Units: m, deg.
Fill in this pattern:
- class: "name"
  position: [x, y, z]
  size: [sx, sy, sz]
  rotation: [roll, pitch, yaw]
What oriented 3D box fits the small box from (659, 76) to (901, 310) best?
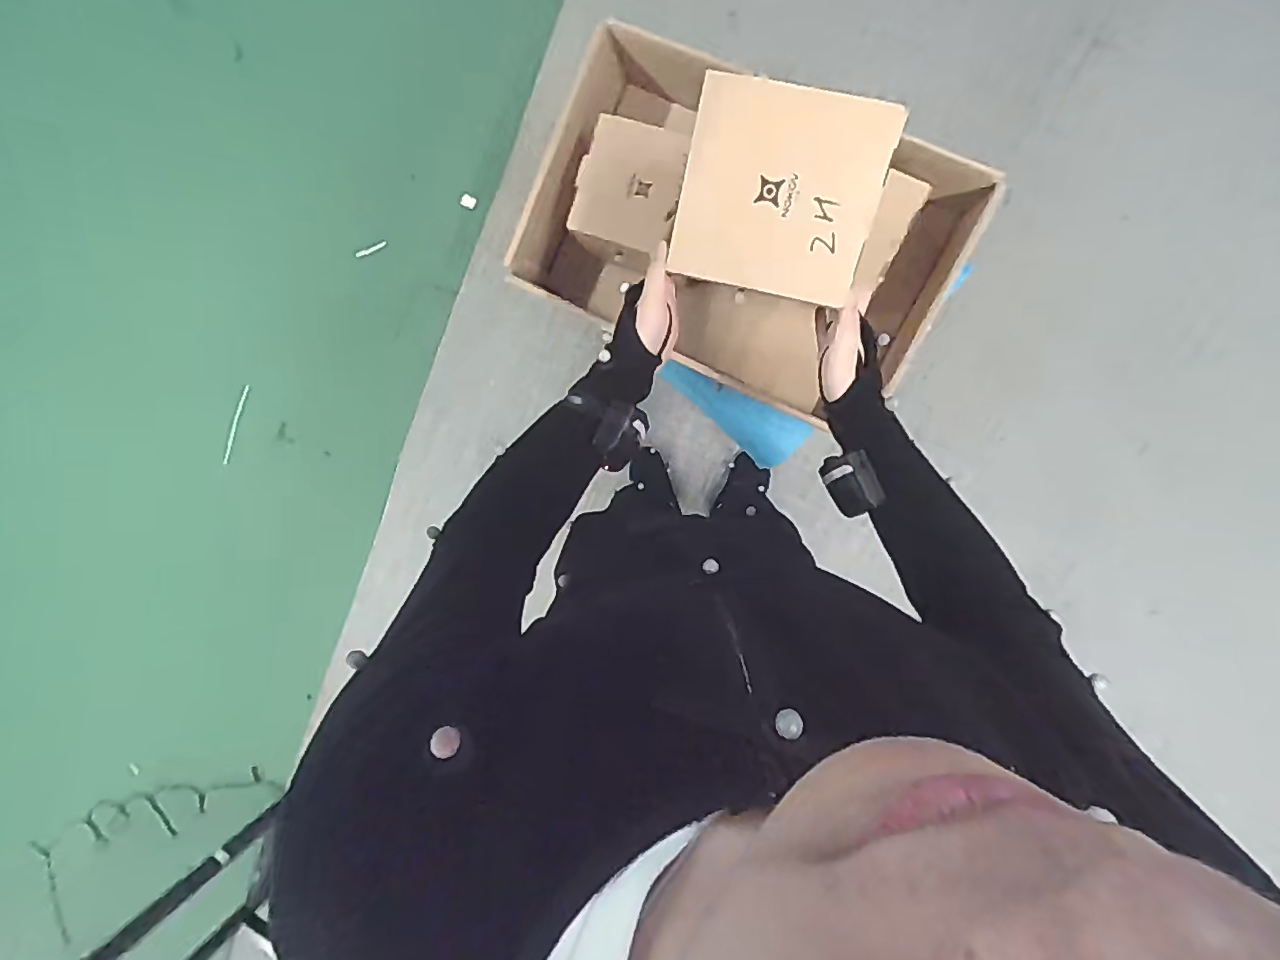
- class: "small box"
  position: [0.130, -0.278, 0.556]
  size: [0.179, 0.176, 0.168]
  rotation: [14, 112, 5]
